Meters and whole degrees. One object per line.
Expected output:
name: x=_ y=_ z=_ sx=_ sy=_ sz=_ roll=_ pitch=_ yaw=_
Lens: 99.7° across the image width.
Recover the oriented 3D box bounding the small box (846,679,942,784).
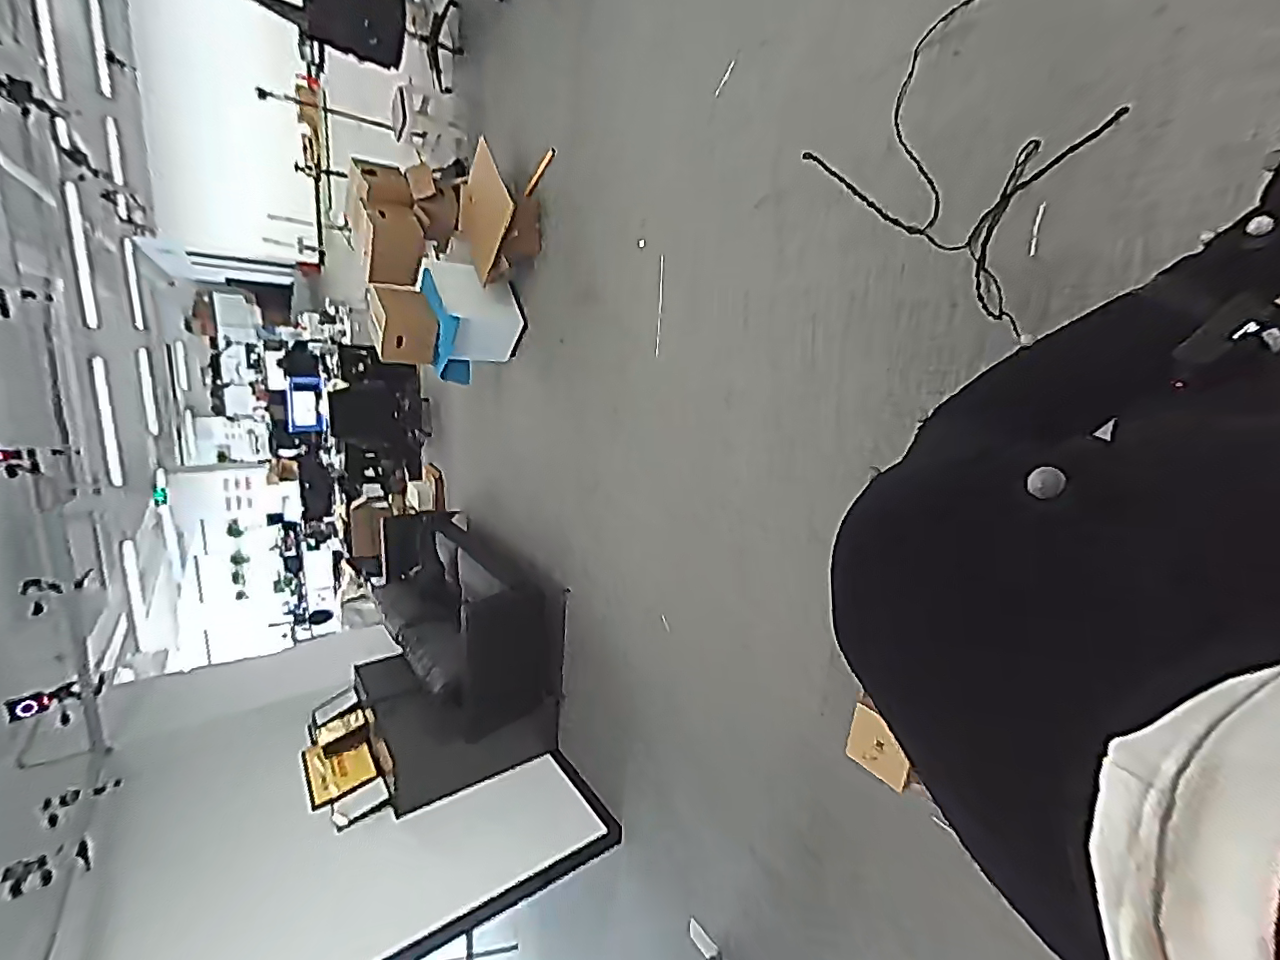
small box: x=0.703 y=0.683 z=1.493 sx=0.168 sy=0.176 sz=0.179 roll=24 pitch=114 yaw=49
